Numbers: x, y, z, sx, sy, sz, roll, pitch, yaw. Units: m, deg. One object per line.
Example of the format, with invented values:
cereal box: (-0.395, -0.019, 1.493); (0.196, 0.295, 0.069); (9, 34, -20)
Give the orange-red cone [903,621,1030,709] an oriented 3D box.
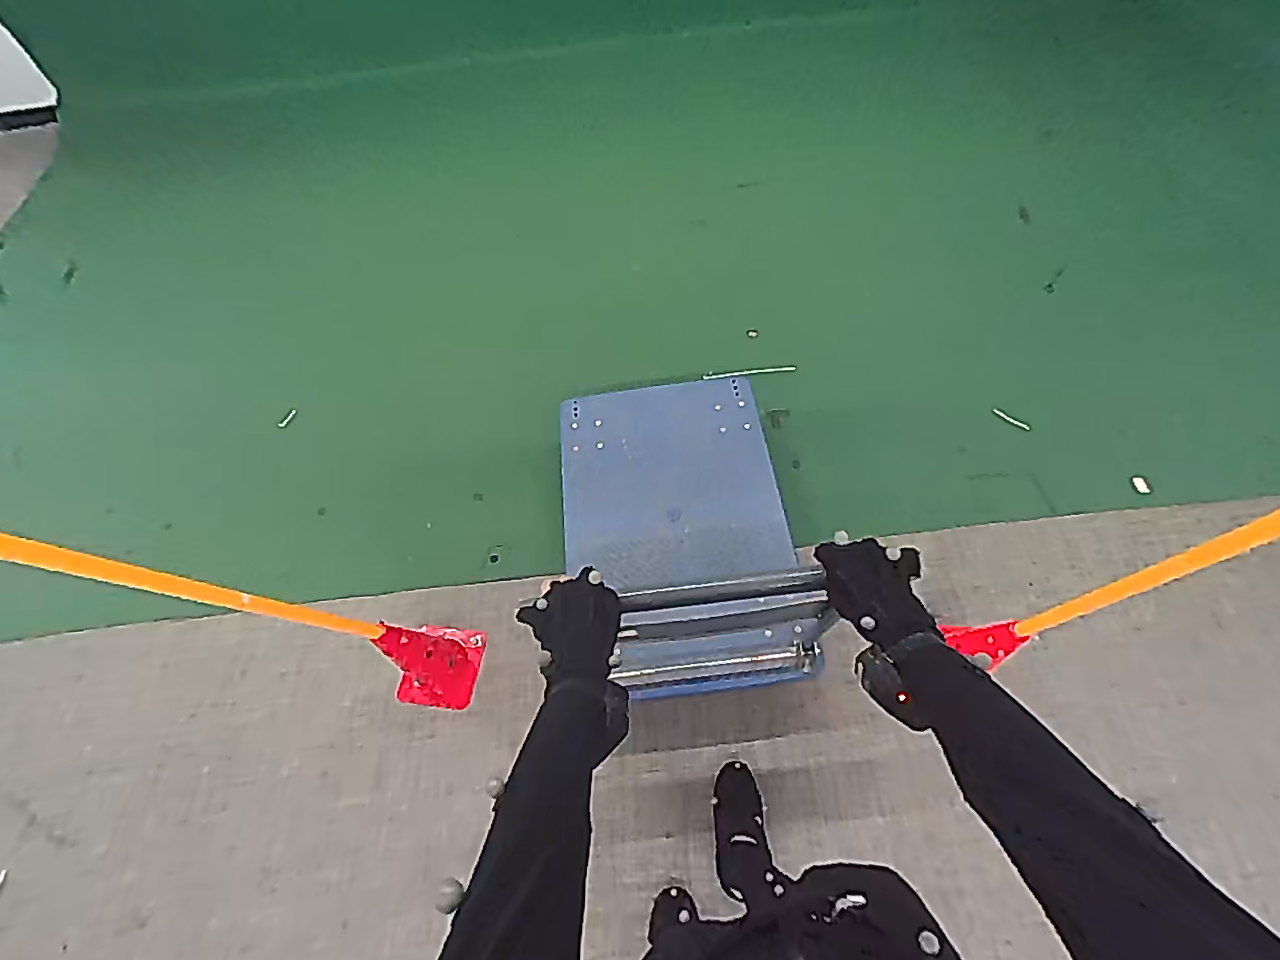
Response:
orange-red cone: (0.749, 0.376, 1.194); (0.198, 0.360, 0.199); (3, 62, 7)
